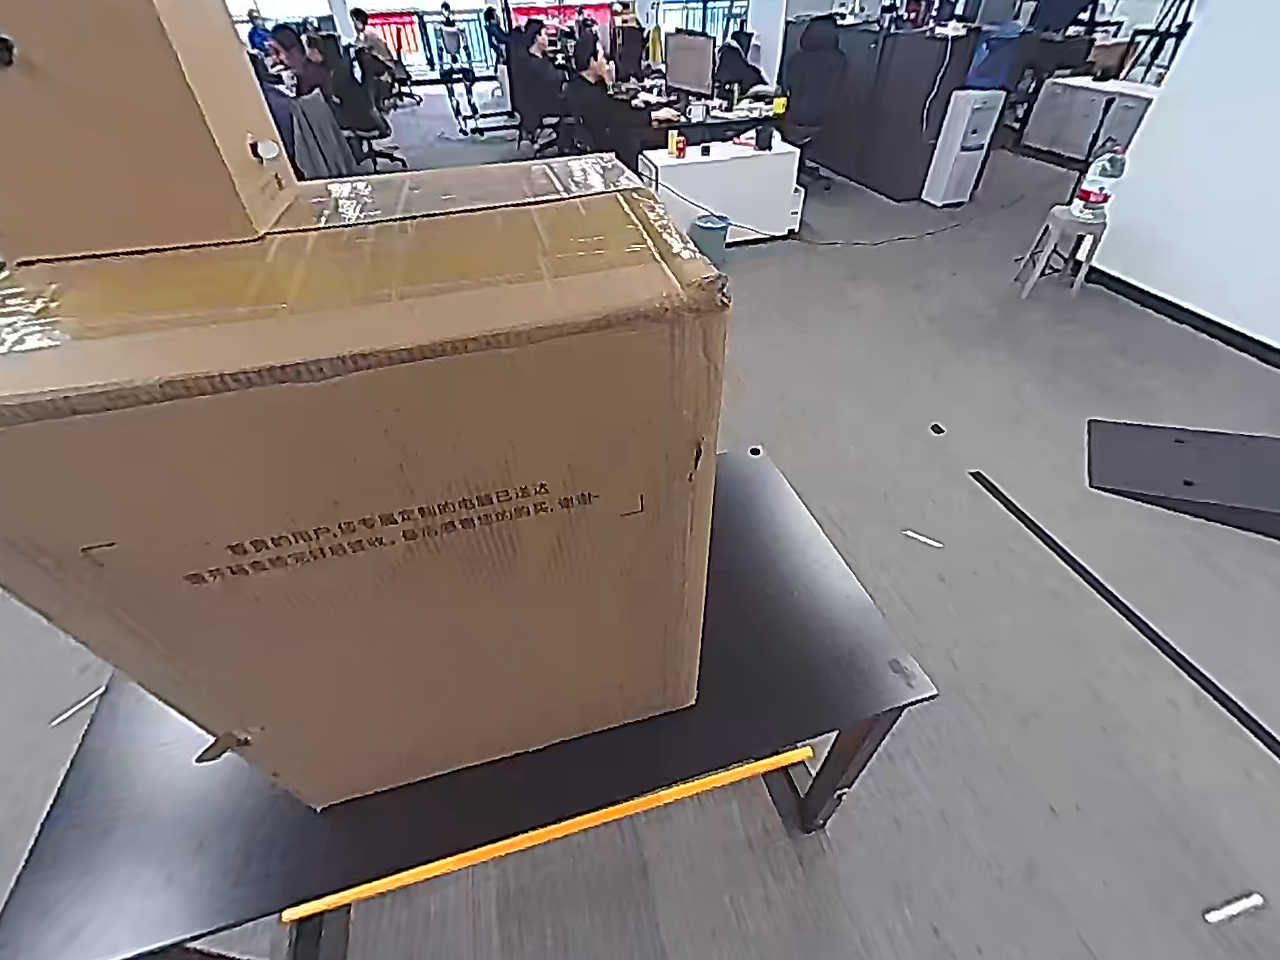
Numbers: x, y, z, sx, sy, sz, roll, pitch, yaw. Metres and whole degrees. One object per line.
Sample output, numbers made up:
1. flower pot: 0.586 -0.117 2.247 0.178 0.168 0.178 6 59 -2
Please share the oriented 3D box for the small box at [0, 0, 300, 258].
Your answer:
1. small box: -0.407 -0.285 0.422 0.179 0.176 0.168 -11 42 -11
